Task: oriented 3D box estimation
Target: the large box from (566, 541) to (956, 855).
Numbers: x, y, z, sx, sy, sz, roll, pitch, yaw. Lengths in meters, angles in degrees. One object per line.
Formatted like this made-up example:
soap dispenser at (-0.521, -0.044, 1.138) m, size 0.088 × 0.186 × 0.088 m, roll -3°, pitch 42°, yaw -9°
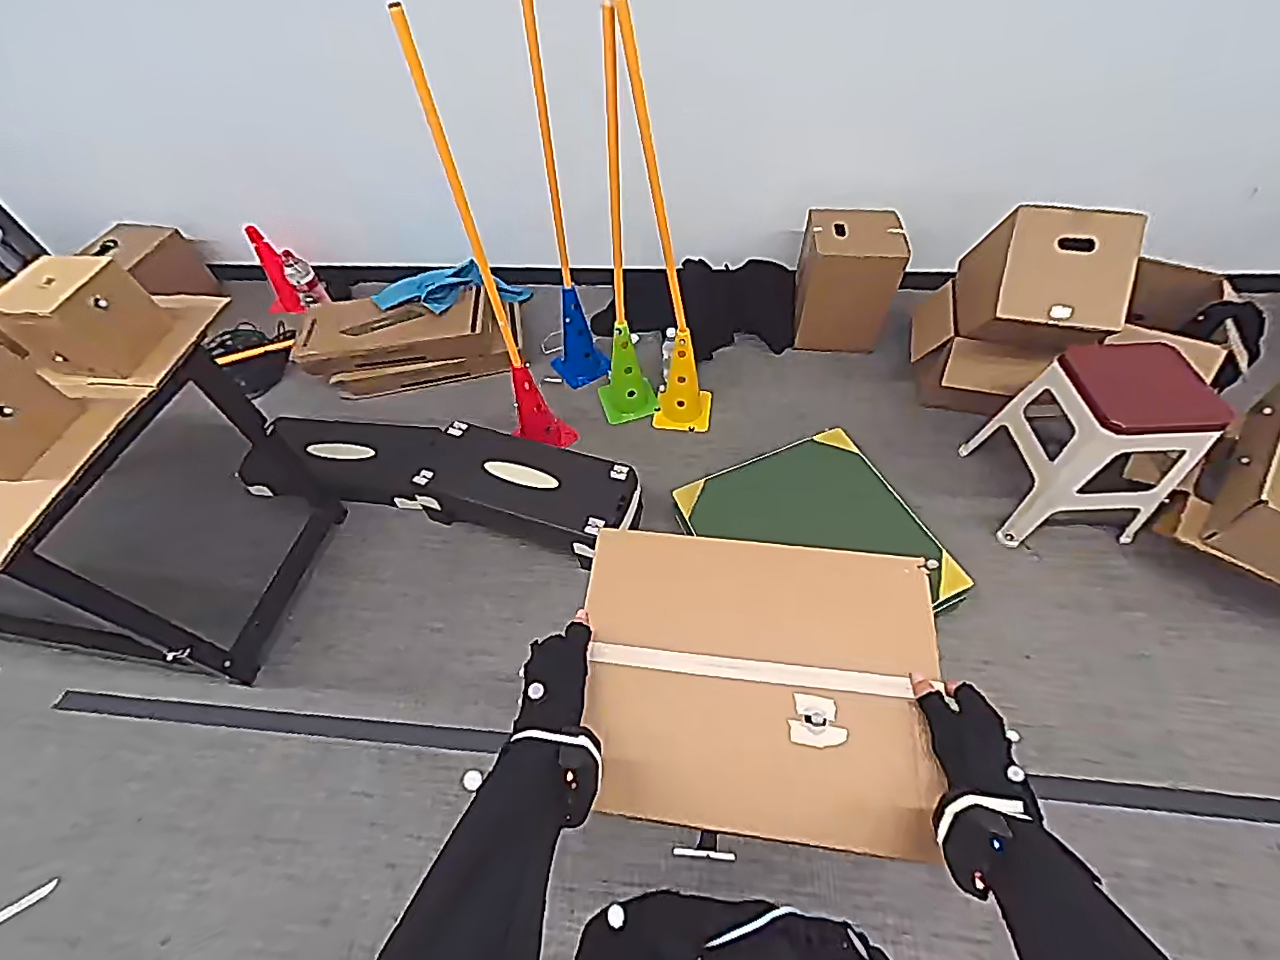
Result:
large box at (0.138, 0.300, 0.751) m, size 0.408 × 0.320 × 0.320 m, roll 5°, pitch 61°, yaw 6°
